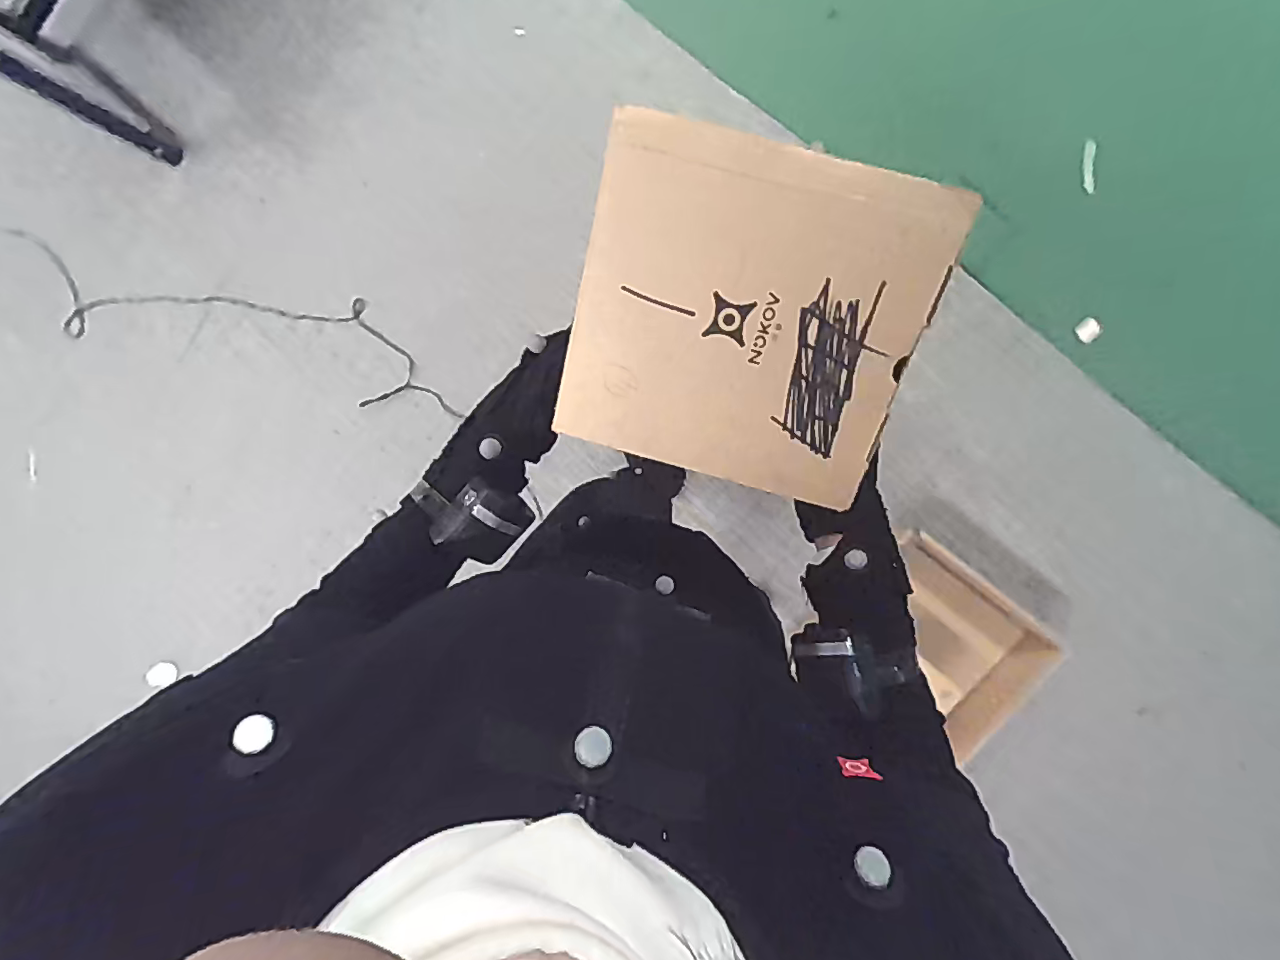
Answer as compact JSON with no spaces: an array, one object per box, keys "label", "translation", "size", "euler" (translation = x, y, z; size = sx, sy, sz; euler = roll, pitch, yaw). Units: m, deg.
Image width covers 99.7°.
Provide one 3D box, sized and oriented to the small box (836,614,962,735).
[{"label":"small box","translation":[0.573,0.427,1.228],"size":[0.179,0.176,0.168],"euler":[41,98,7]}]
